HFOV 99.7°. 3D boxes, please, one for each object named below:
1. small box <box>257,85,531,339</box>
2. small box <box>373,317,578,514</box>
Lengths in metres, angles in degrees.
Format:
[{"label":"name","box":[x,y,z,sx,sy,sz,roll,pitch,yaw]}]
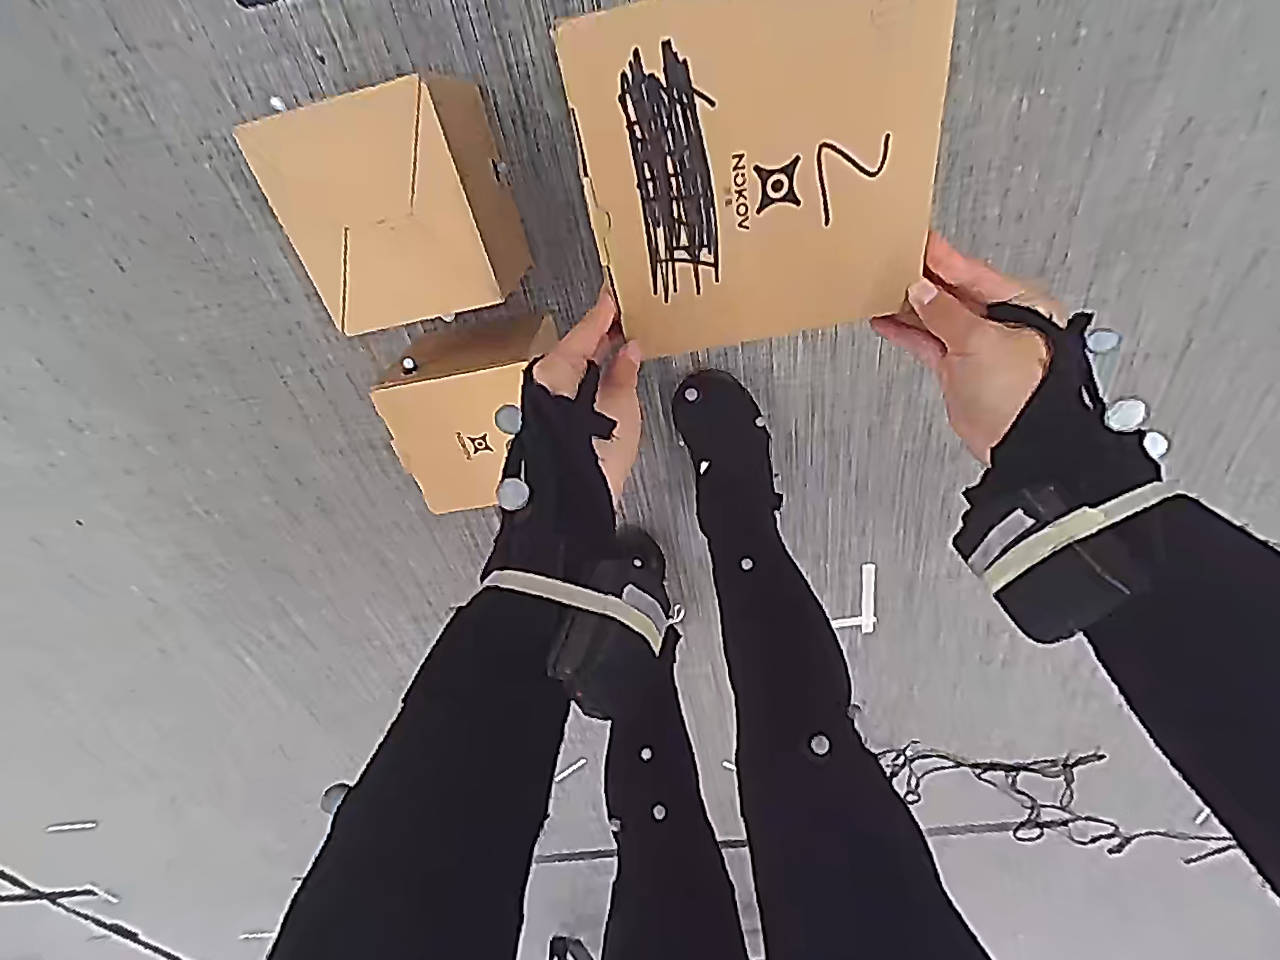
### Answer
[{"label":"small box","box":[-0.222,-0.262,0.526,0.168,0.176,0.179,-10,124,7]},{"label":"small box","box":[-0.177,-0.083,0.655,0.179,0.176,0.168,-9,124,7]}]
